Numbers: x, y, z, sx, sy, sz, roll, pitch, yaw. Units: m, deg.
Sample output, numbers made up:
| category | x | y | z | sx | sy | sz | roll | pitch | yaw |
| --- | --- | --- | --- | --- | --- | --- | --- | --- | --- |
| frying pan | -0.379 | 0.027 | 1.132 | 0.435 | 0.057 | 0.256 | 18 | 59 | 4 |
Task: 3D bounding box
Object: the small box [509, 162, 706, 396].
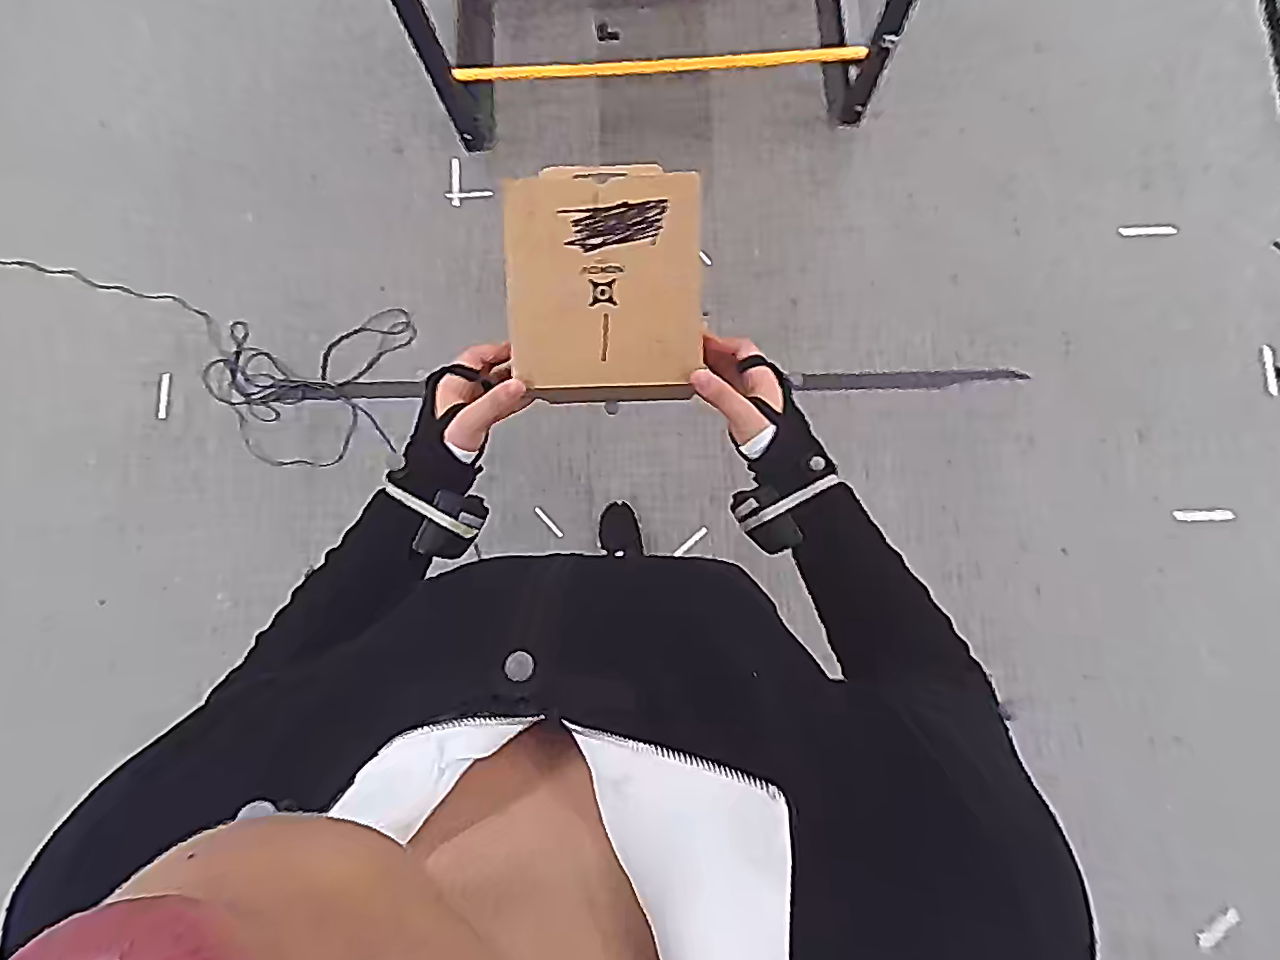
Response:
| category | x | y | z | sx | sy | sz | roll | pitch | yaw |
| --- | --- | --- | --- | --- | --- | --- | --- | --- | --- |
| small box | -0.026 | -0.179 | 0.530 | 0.168 | 0.176 | 0.179 | -1 | 94 | 2 |
